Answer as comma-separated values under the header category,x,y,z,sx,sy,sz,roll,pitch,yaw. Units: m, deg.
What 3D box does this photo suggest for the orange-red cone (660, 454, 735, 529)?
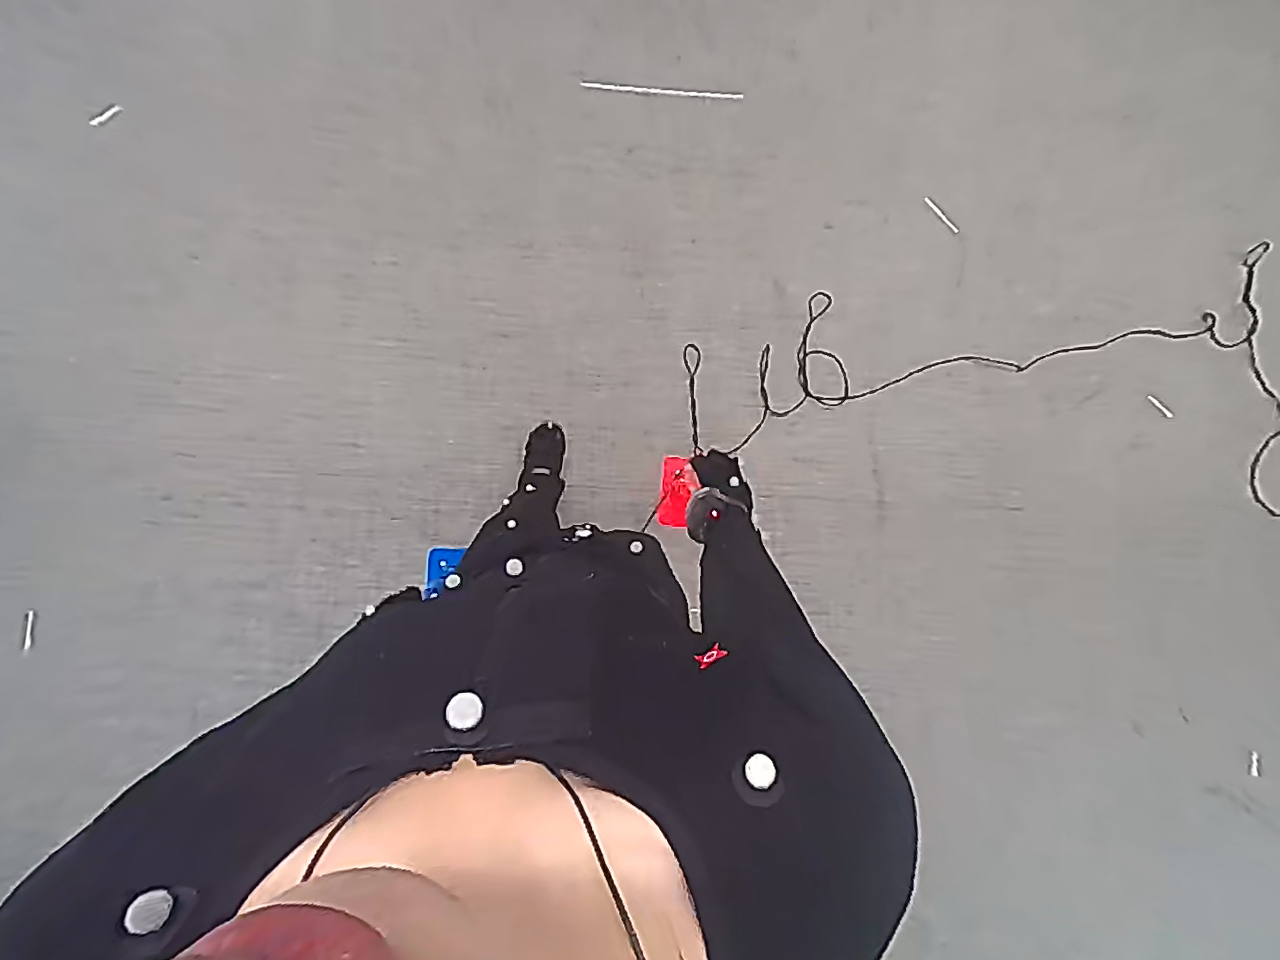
category,x,y,z,sx,sy,sz,roll,pitch,yaw
orange-red cone,0.169,0.027,1.355,0.198,0.360,0.199,8,88,-2
